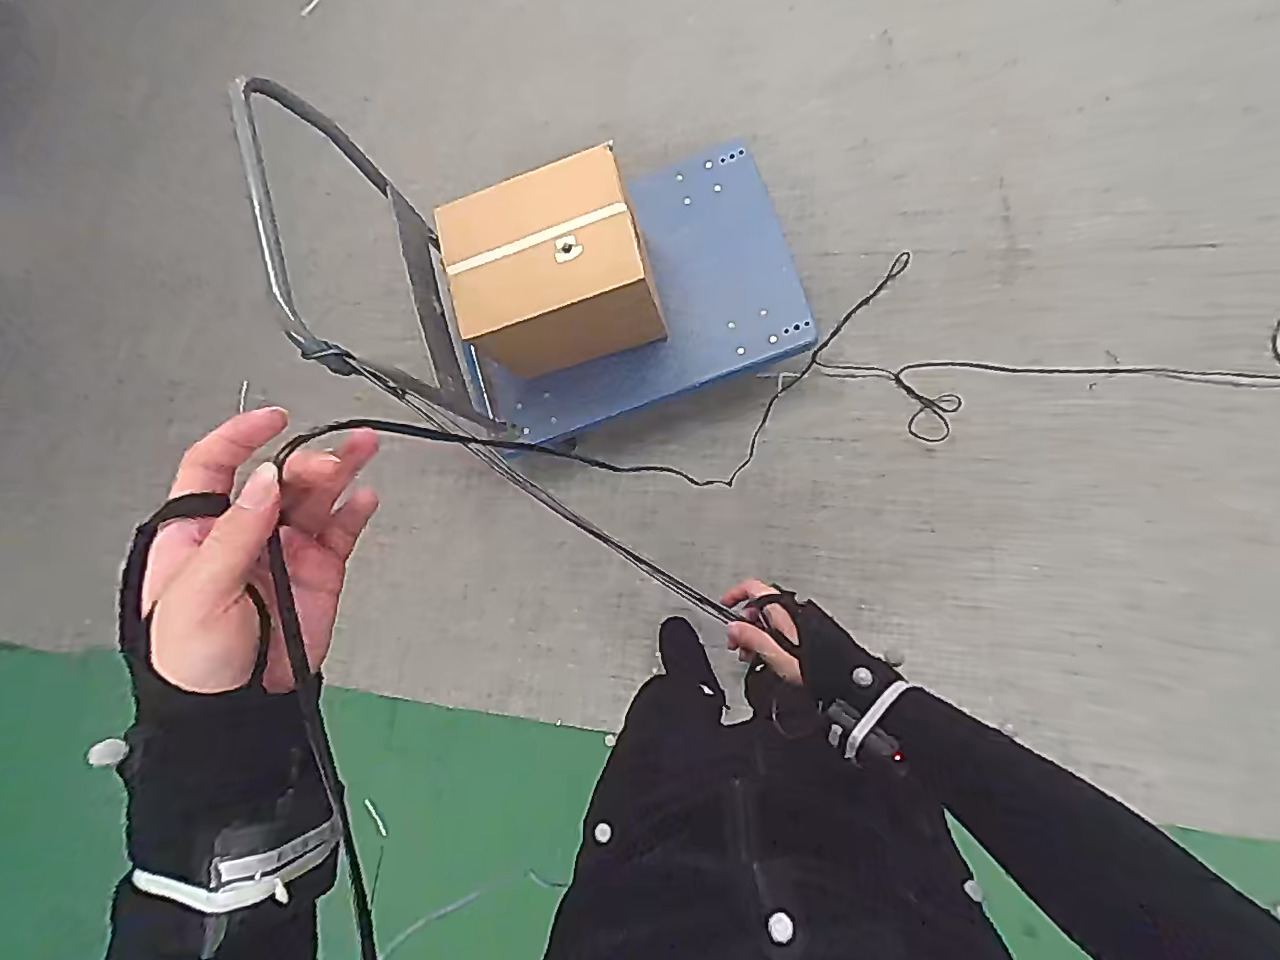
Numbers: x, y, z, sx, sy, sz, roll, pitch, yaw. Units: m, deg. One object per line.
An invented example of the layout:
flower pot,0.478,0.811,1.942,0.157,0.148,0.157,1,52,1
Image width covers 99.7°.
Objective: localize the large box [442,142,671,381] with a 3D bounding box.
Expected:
large box,-0.172,-0.468,1.243,0.408,0.320,0.320,-16,82,9
